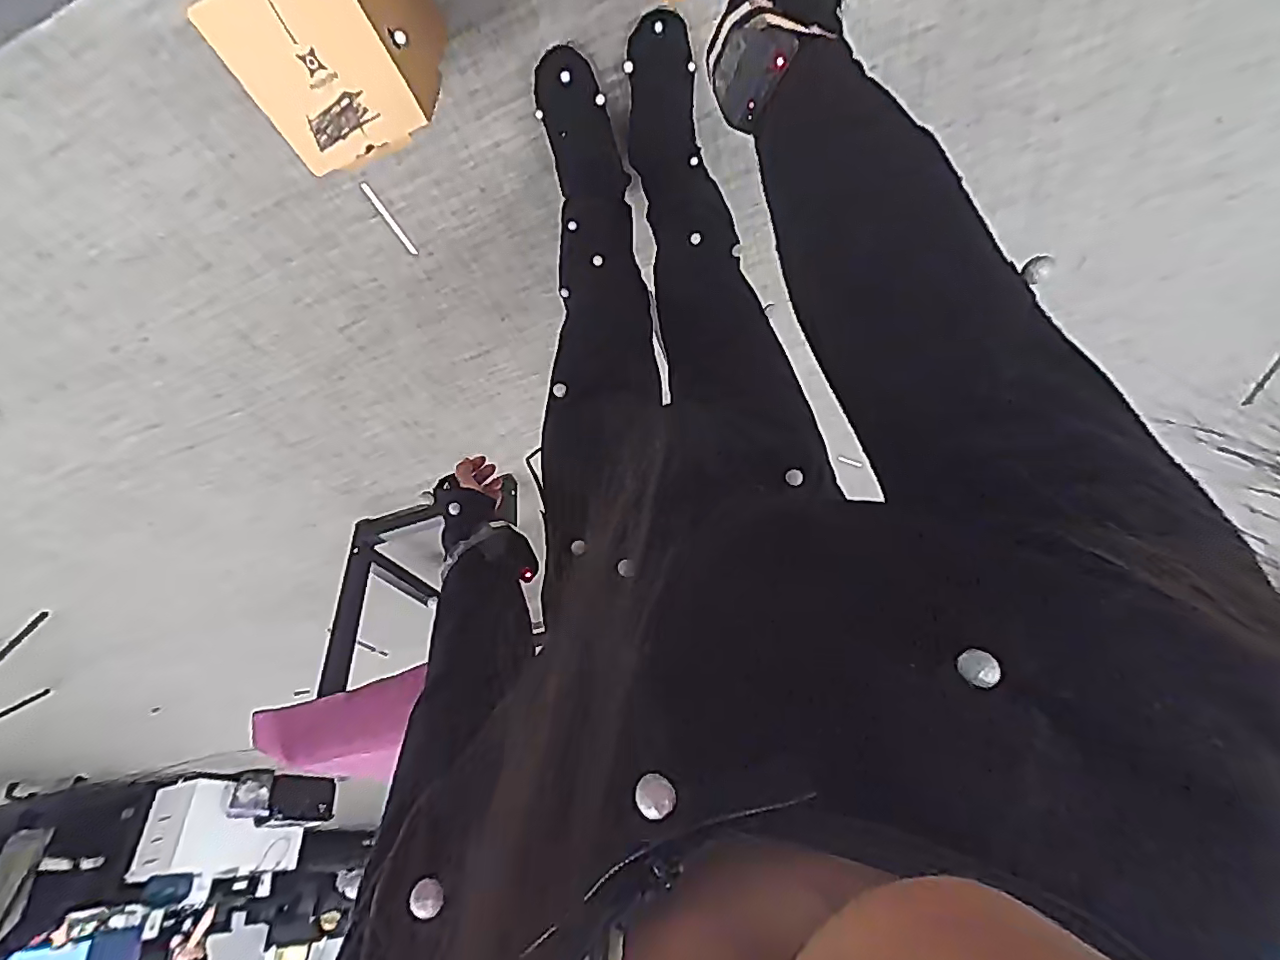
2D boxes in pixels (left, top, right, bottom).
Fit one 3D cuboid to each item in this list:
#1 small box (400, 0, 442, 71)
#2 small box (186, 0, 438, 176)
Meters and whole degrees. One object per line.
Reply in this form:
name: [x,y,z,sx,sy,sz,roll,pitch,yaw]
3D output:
small box: [-0.389,-0.636,0.736,0.179,0.176,0.168,-19,142,13]
small box: [-0.361,-0.508,0.638,0.168,0.176,0.179,-18,141,10]
